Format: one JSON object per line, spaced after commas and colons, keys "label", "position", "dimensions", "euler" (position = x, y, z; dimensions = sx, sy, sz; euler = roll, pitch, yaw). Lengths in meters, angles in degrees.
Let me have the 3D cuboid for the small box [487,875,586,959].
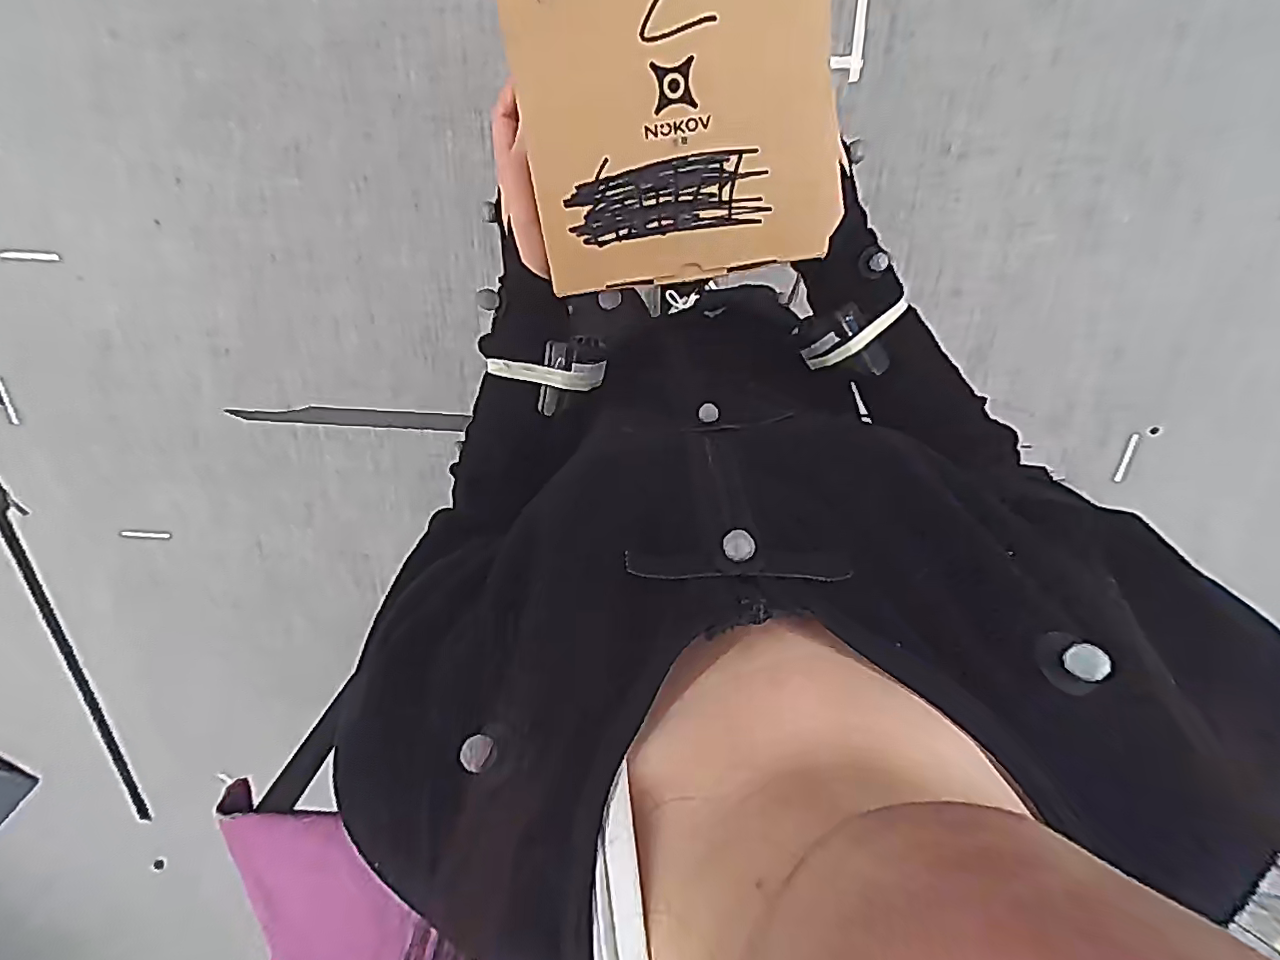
{"label": "small box", "position": [-0.197, 0.918, 1.056], "dimensions": [0.168, 0.176, 0.179], "euler": [4, 112, -2]}
